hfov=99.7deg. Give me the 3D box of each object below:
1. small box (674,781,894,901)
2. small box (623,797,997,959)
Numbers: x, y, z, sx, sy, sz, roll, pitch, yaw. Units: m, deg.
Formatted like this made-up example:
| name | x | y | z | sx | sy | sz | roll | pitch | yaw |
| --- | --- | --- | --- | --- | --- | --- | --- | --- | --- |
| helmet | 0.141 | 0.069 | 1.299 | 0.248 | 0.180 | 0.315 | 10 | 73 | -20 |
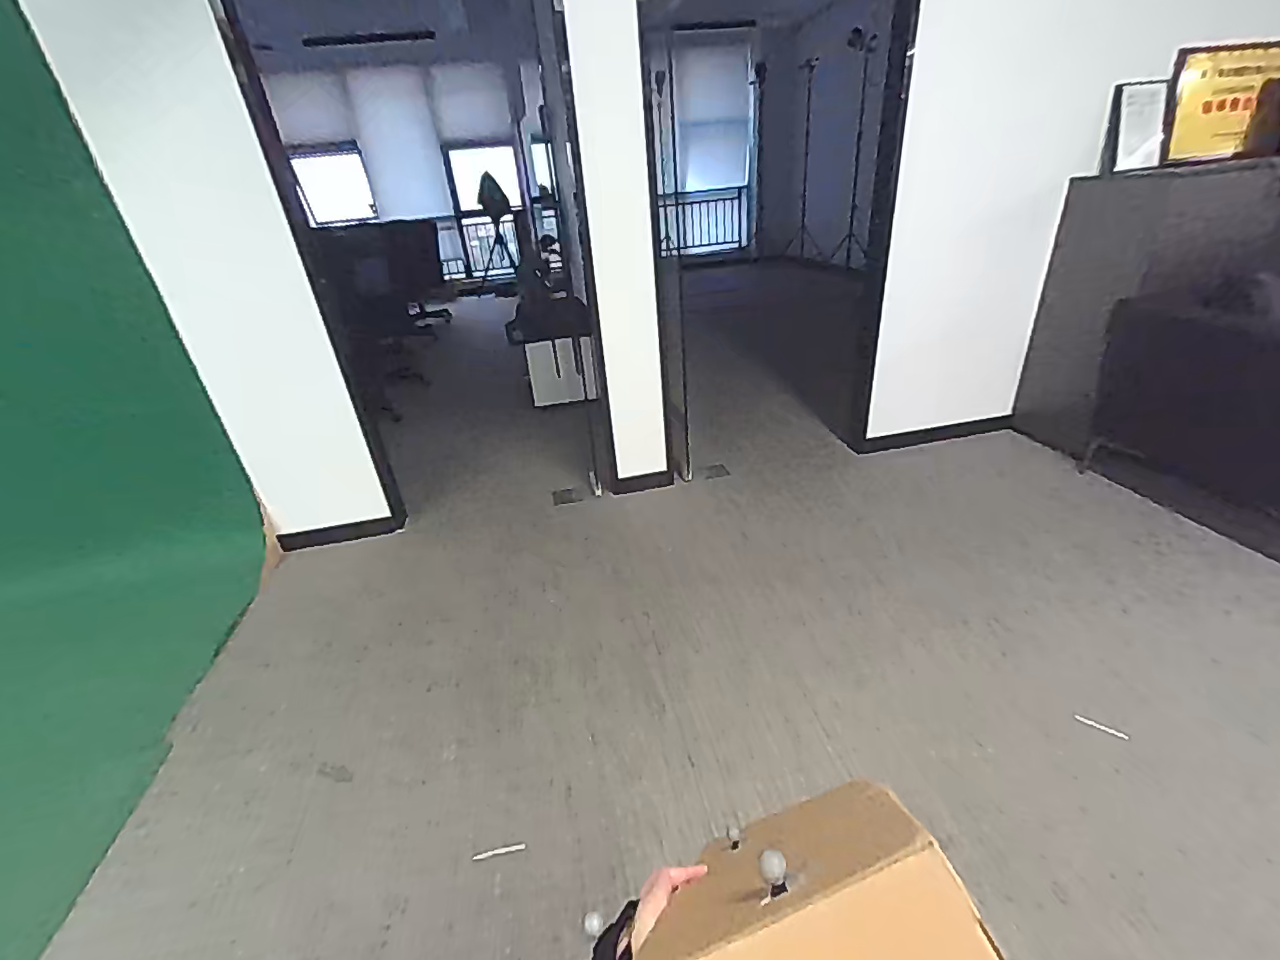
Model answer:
| name | x | y | z | sx | sy | sz | roll | pitch | yaw |
| --- | --- | --- | --- | --- | --- | --- | --- | --- | --- |
| small box | 0.150 | 0.361 | 0.424 | 0.179 | 0.176 | 0.168 | -26 | 64 | 4 |
| small box | 0.107 | 0.295 | 0.282 | 0.179 | 0.176 | 0.168 | -29 | 63 | 3 |
